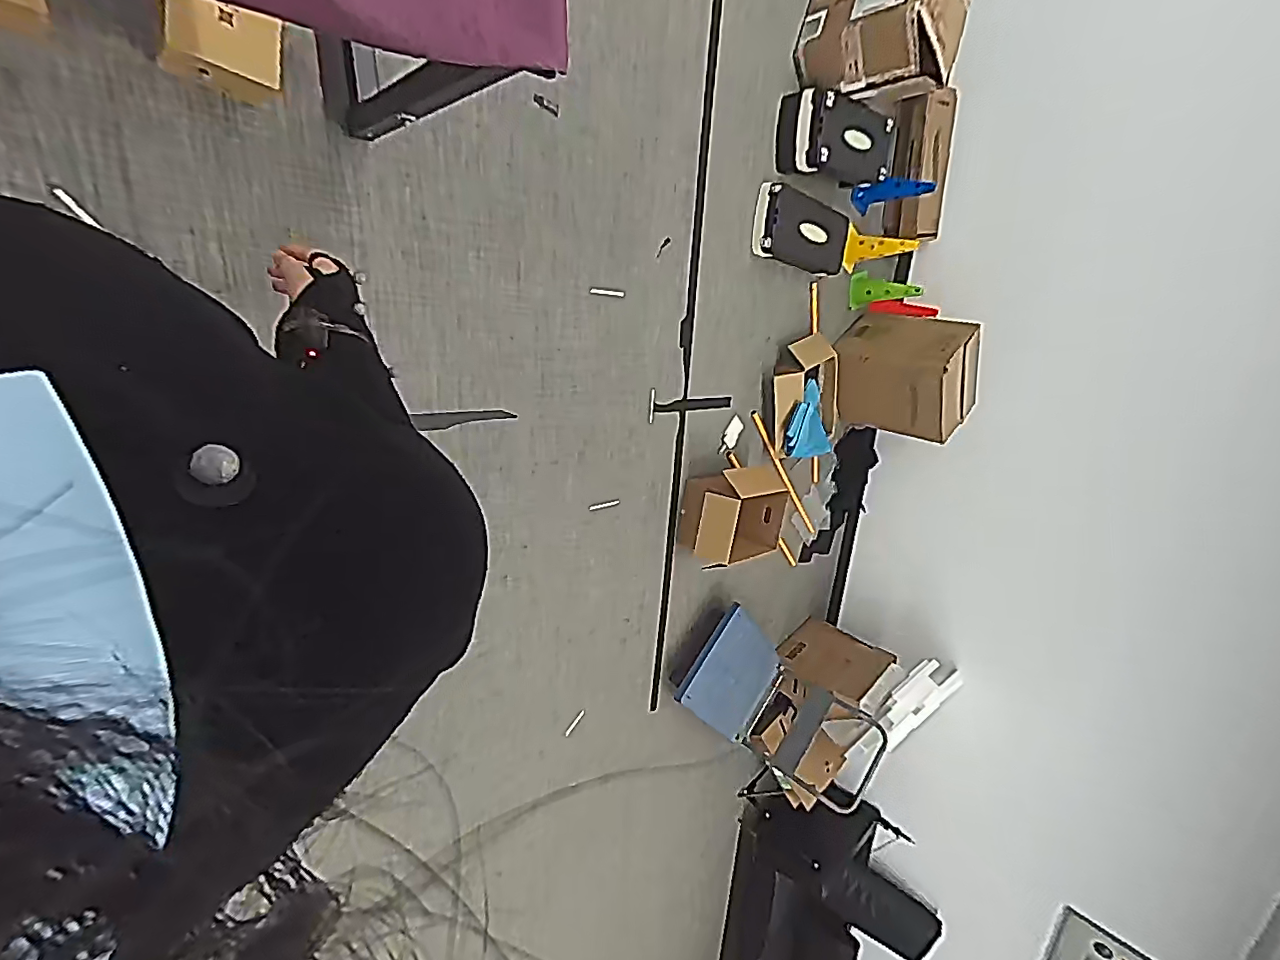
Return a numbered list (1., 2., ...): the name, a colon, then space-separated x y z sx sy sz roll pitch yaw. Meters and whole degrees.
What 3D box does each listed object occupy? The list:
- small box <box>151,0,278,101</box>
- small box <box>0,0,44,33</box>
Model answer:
1. small box: -0.787 -0.842 1.000 0.168 0.176 0.179 -2 106 -45
2. small box: -1.005 -0.800 0.785 0.168 0.176 0.179 -12 113 -44
